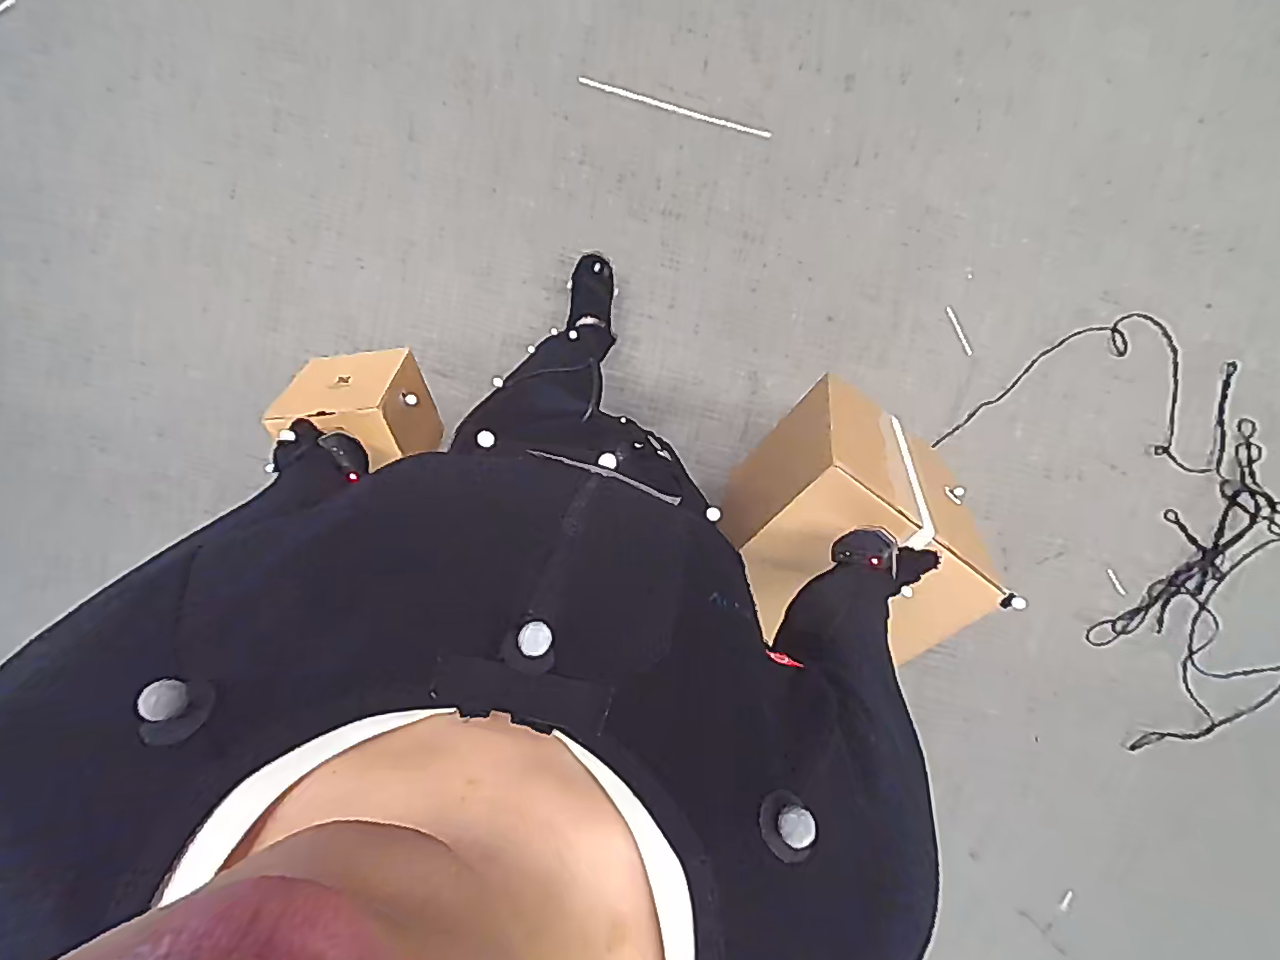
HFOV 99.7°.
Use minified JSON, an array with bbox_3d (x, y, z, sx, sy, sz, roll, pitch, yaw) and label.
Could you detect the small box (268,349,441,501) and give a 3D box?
[{"bbox_3d":[-0.438,-0.089,0.869,0.168,0.179,0.176,-7,131,1],"label":"small box"}]
